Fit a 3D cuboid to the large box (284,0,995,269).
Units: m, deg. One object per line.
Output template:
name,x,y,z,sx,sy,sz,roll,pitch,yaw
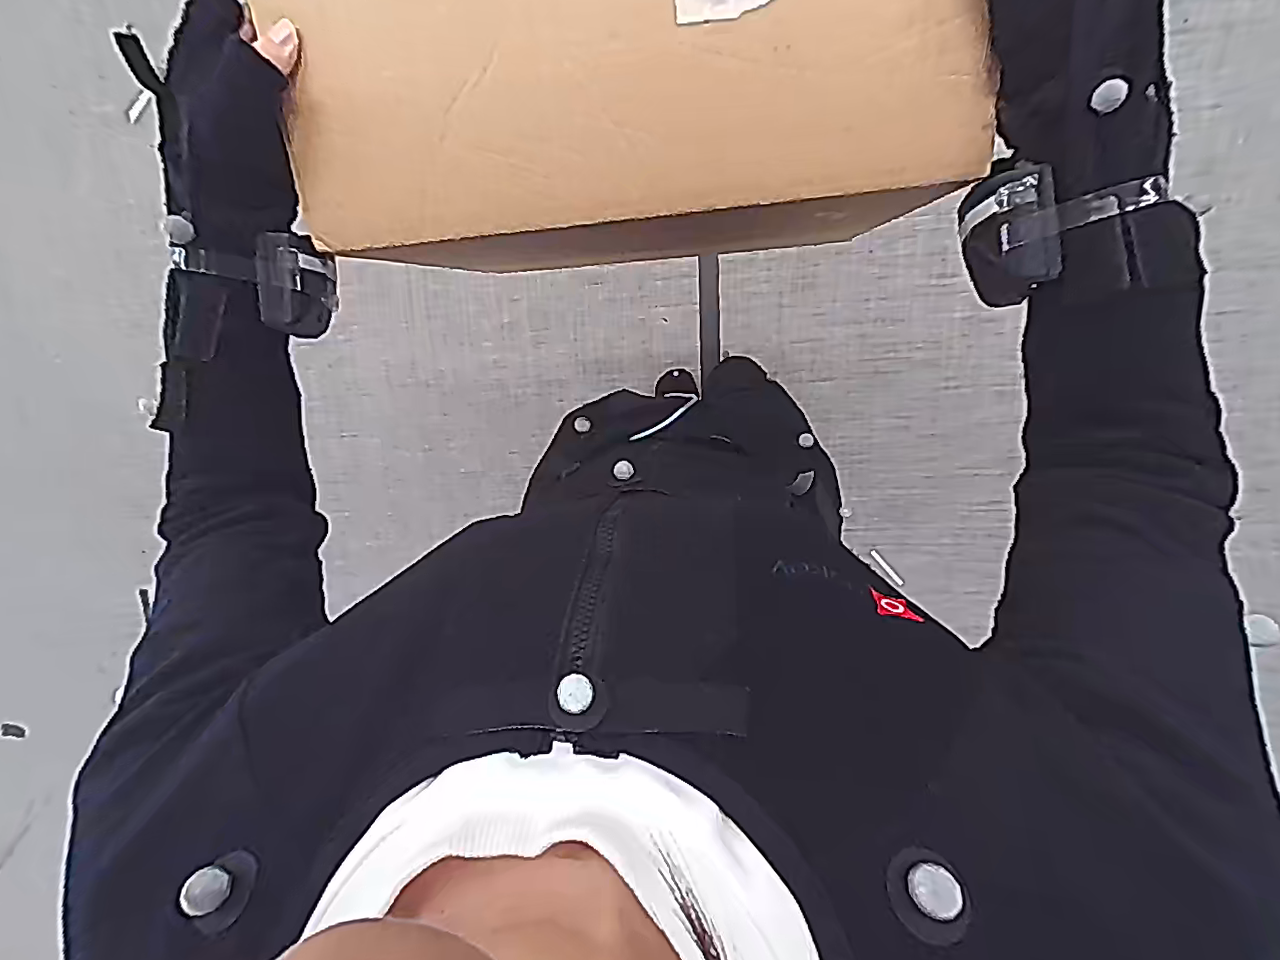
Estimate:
large box,0.000,-0.360,0.428,0.408,0.320,0.320,-3,109,8
